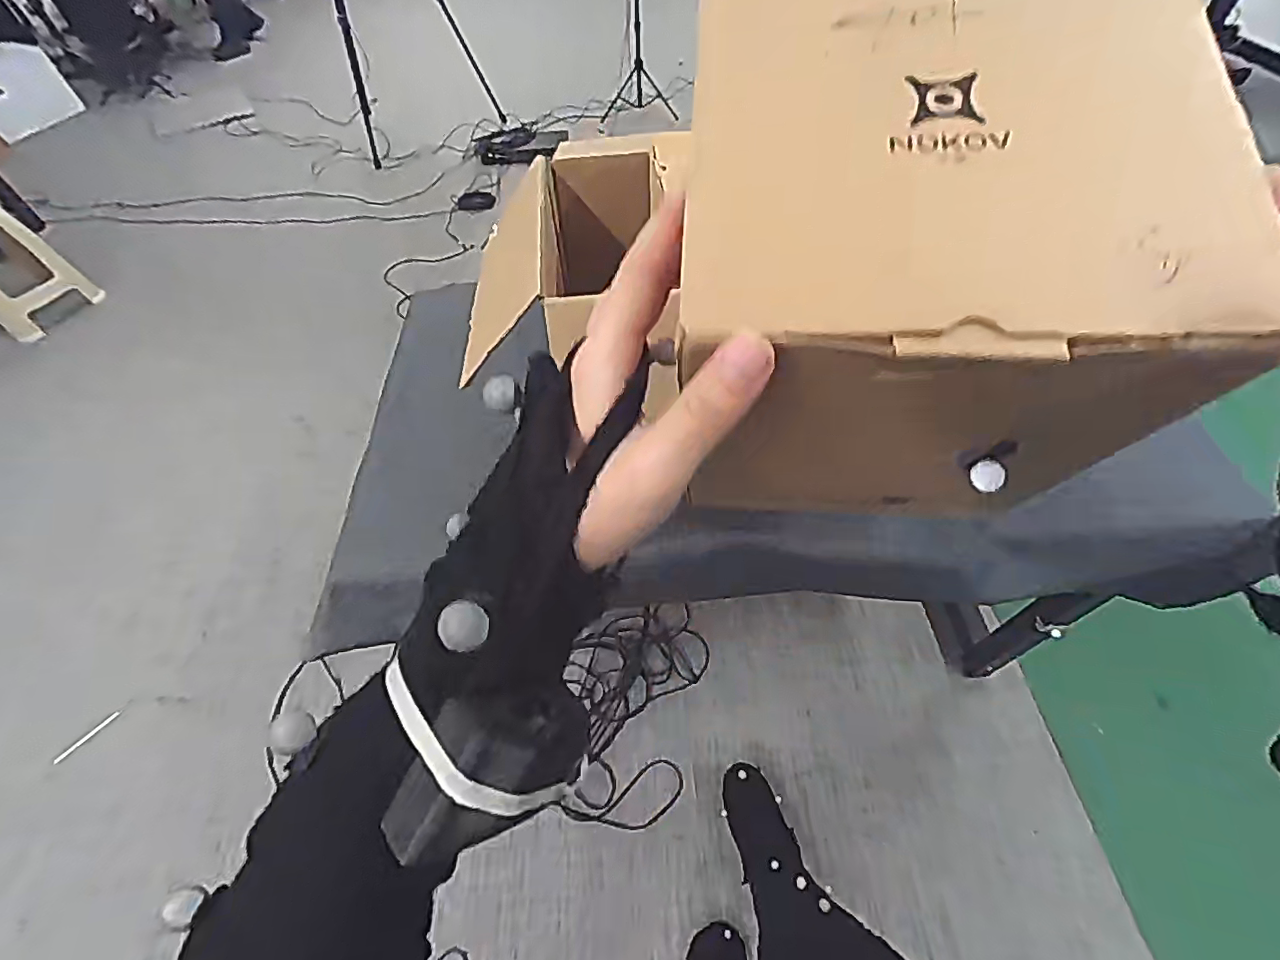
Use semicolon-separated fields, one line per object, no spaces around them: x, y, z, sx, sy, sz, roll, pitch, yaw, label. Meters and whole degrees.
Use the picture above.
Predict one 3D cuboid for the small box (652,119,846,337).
0.107;-0.284;0.621;0.179;0.176;0.168;-5;54;-1;small box
